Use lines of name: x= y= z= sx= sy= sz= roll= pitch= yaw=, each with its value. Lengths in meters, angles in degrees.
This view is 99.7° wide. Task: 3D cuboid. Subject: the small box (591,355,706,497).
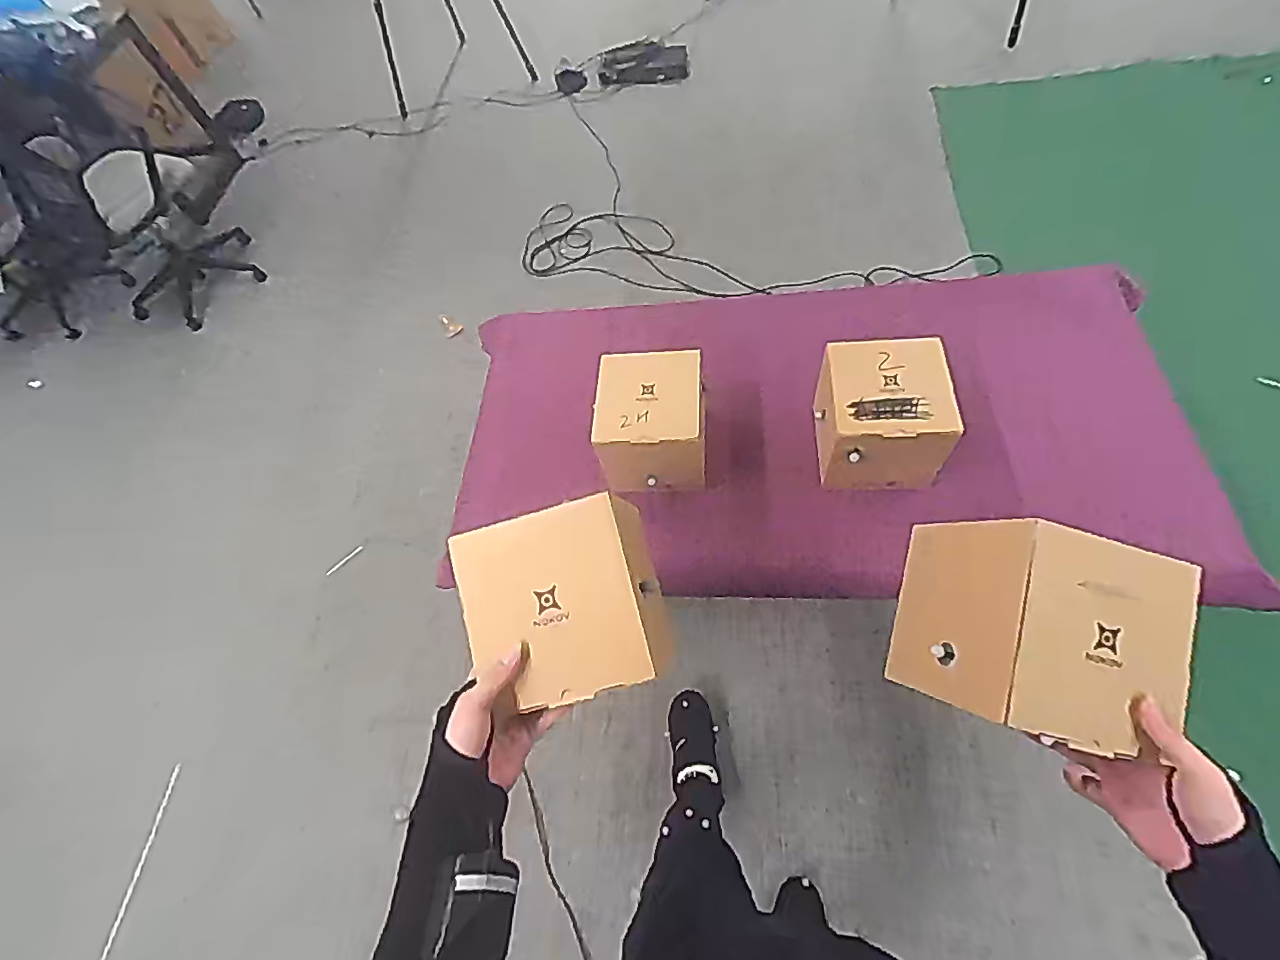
small box: x=0.024 y=-0.087 z=0.905 sx=0.168 sy=0.176 sz=0.179 roll=0 pitch=61 yaw=10

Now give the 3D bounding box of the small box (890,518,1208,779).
small box: x=0.371 y=0.146 z=0.520 sx=0.168 sy=0.176 sz=0.179 roll=17 pitch=81 yaw=-6

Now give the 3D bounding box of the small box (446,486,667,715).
small box: x=-0.075 y=0.119 z=0.566 sx=0.168 sy=0.176 sz=0.179 roll=-16 pitch=81 yaw=6
